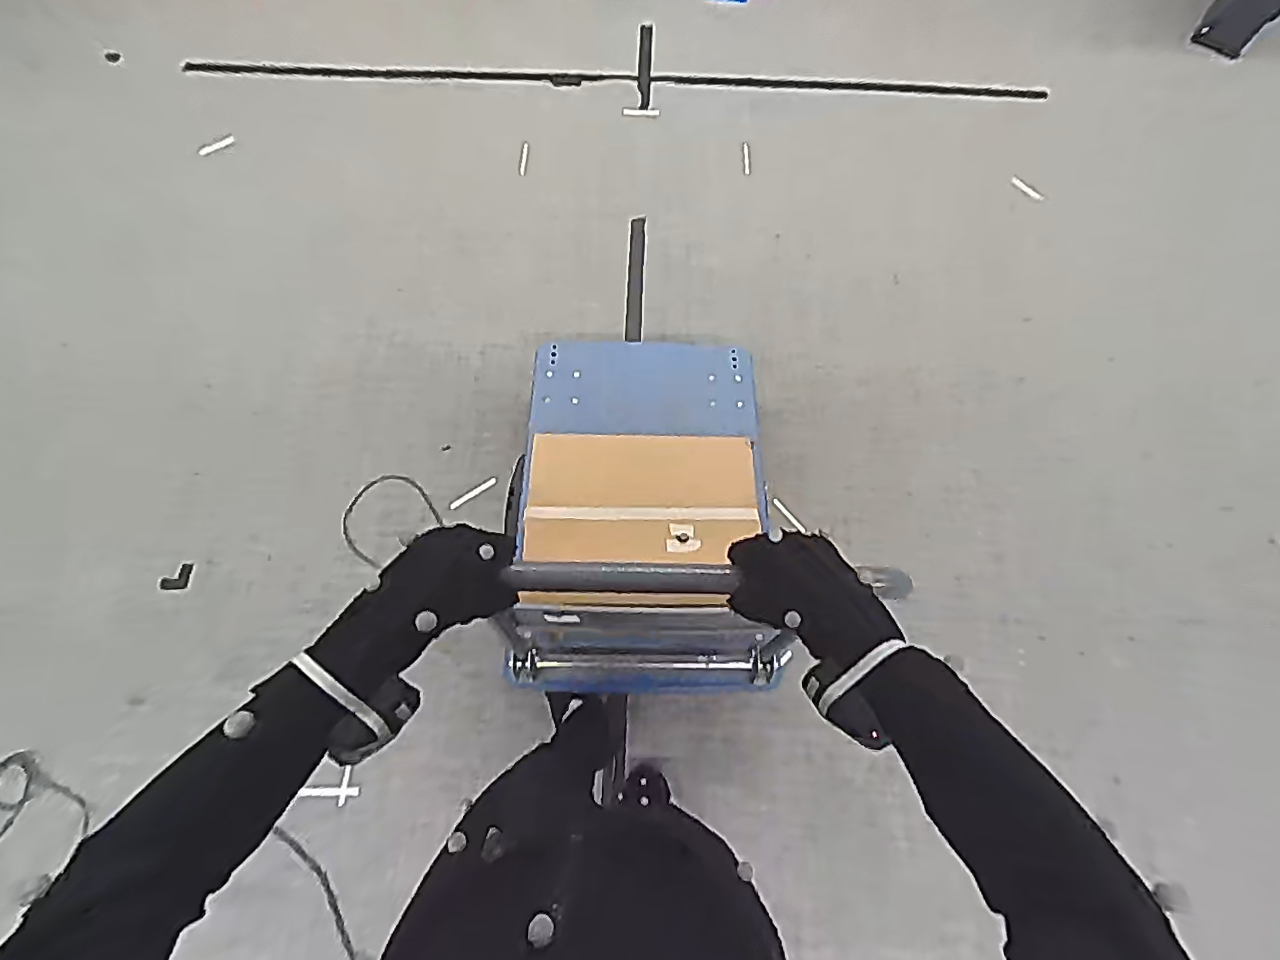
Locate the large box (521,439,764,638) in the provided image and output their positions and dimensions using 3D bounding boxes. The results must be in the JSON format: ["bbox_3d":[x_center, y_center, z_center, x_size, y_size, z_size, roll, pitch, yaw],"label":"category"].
[{"bbox_3d":[-0.005,0.128,1.066,0.408,0.320,0.320,1,66,-3],"label":"large box"}]
